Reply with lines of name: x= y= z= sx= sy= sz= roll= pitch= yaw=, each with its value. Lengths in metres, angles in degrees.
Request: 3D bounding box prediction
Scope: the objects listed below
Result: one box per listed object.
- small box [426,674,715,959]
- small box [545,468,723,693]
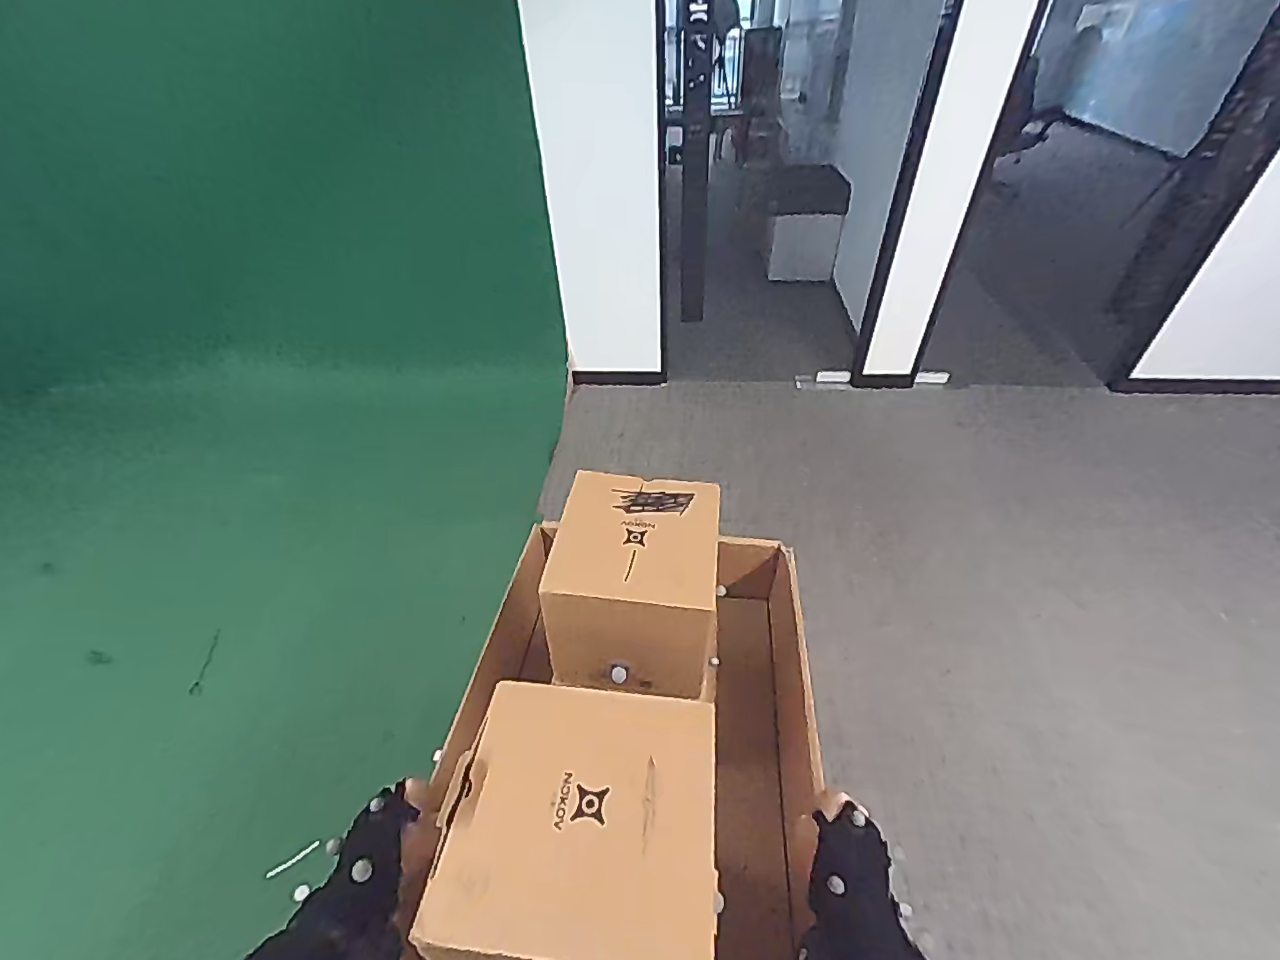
small box: x=-0.037 y=0.280 z=0.428 sx=0.179 sy=0.176 sz=0.168 roll=6 pitch=40 yaw=3
small box: x=-0.001 y=0.112 z=0.617 sx=0.168 sy=0.176 sz=0.179 roll=6 pitch=43 yaw=5
